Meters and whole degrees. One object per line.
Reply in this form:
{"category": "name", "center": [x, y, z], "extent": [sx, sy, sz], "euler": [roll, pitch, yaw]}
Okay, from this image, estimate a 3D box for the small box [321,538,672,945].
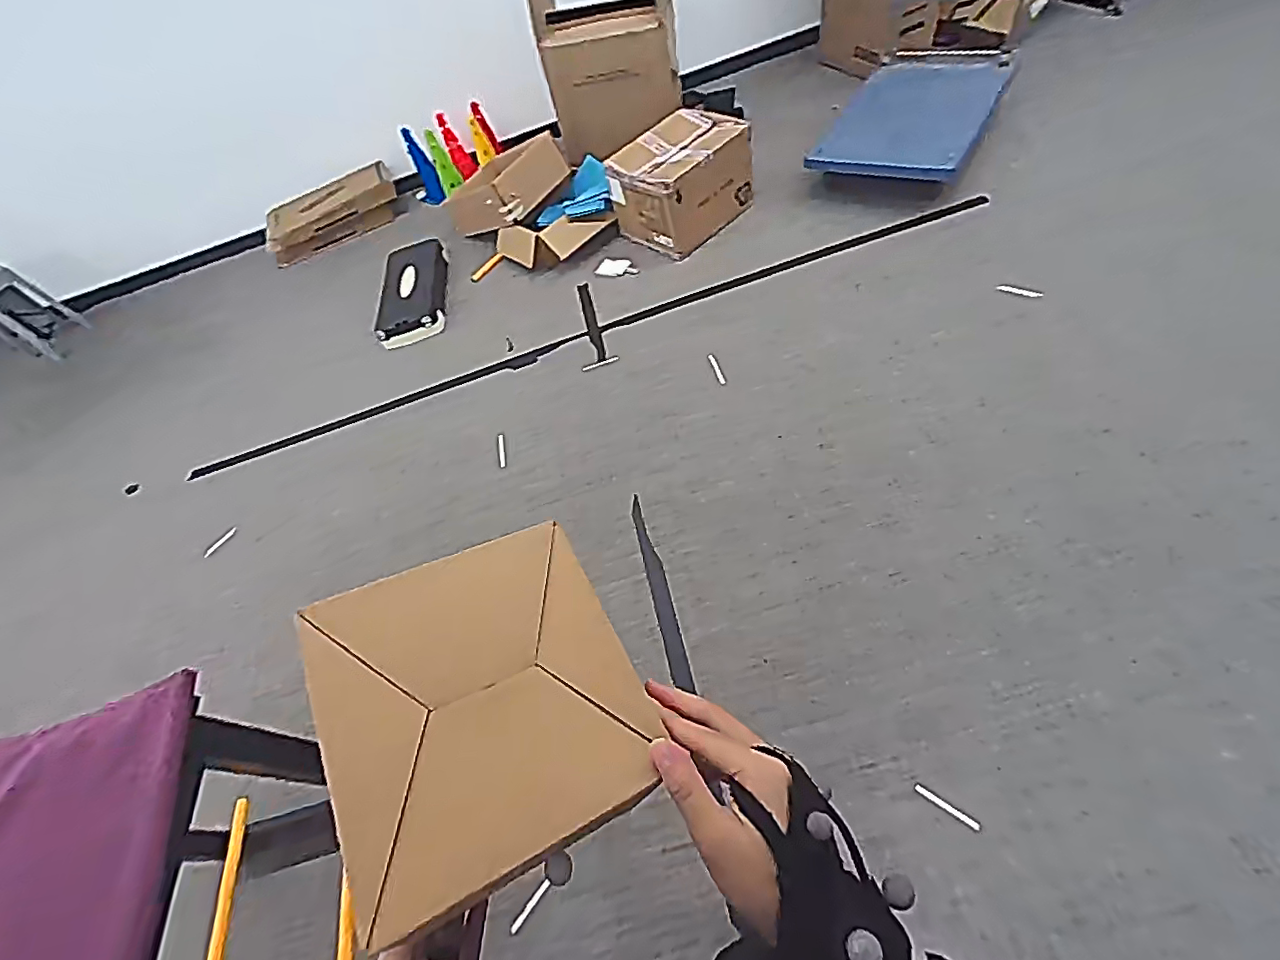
{"category": "small box", "center": [-0.096, 0.167, 0.369], "extent": [0.168, 0.176, 0.179], "euler": [-18, 59, -24]}
